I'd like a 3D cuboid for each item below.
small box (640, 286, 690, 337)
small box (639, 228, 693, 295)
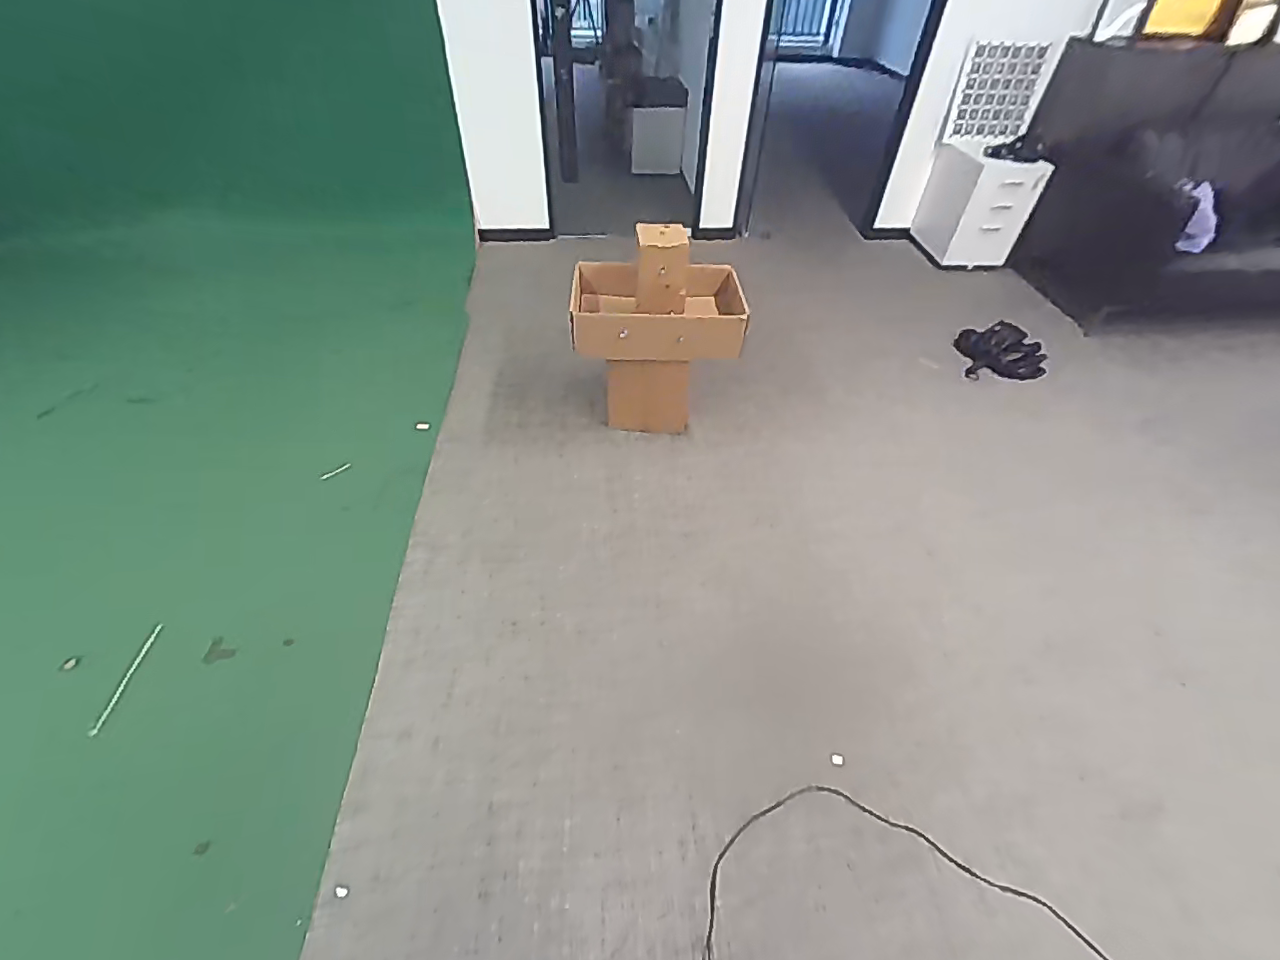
[{"bbox_3d":[0.087,-0.644,2.003,0.168,0.176,0.179,-1,44,-5],"label":"small box"},{"bbox_3d":[0.087,-0.760,1.888,0.168,0.176,0.179,-1,46,-5],"label":"small box"}]
